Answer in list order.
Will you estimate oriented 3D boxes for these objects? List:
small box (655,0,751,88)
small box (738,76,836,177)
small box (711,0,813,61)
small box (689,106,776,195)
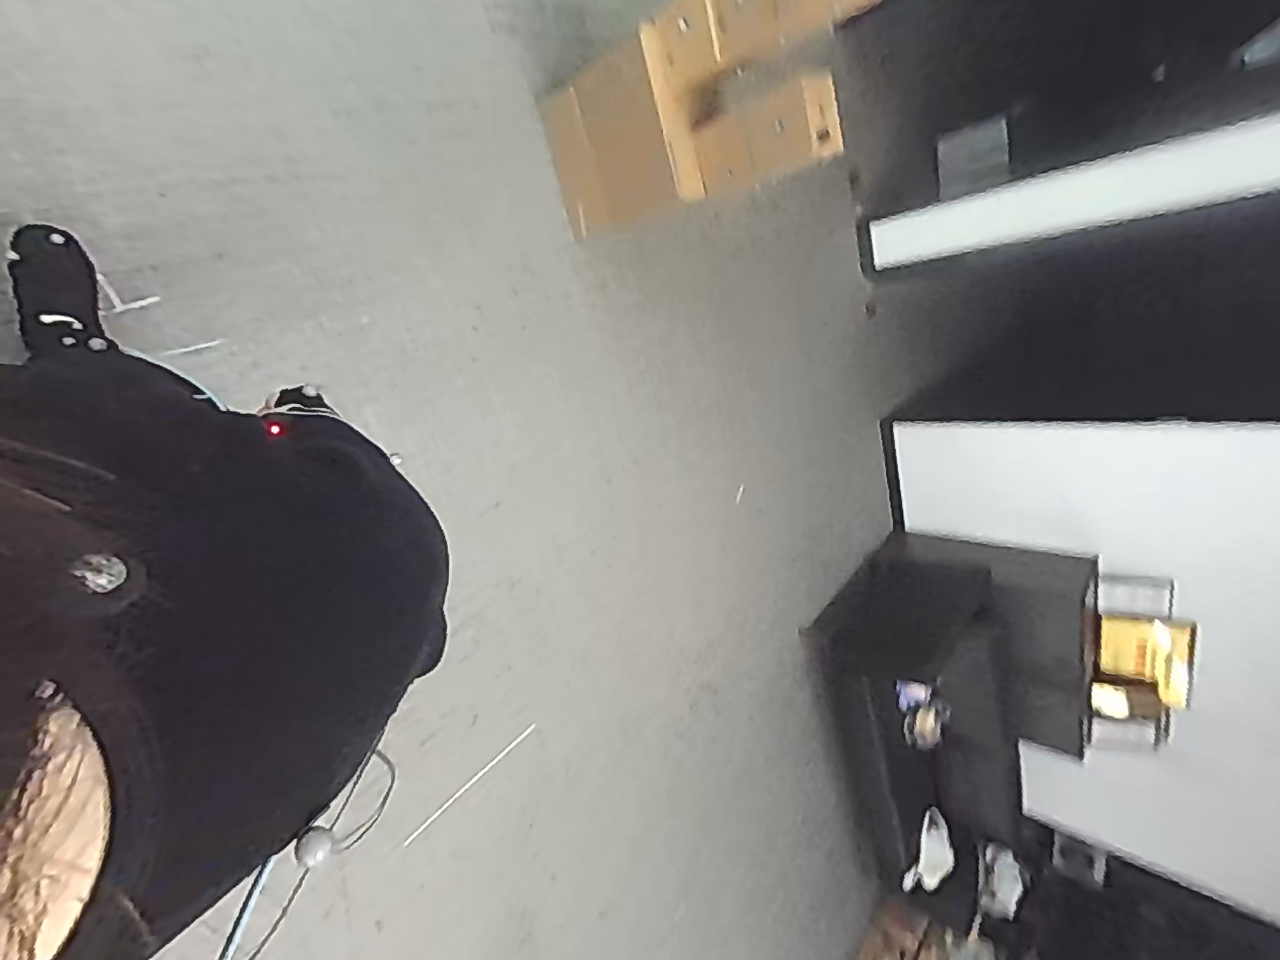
[{"bbox_3d":[0.155,-1.122,1.370,0.179,0.176,0.168,-33,118,-37],"label":"small box"},{"bbox_3d":[0.377,-0.898,1.386,0.168,0.176,0.179,-34,116,-37],"label":"small box"},{"bbox_3d":[0.278,-1.112,1.261,0.179,0.176,0.168,-31,117,-38],"label":"small box"},{"bbox_3d":[0.263,-0.913,1.503,0.168,0.176,0.179,-35,117,-36],"label":"small box"}]
